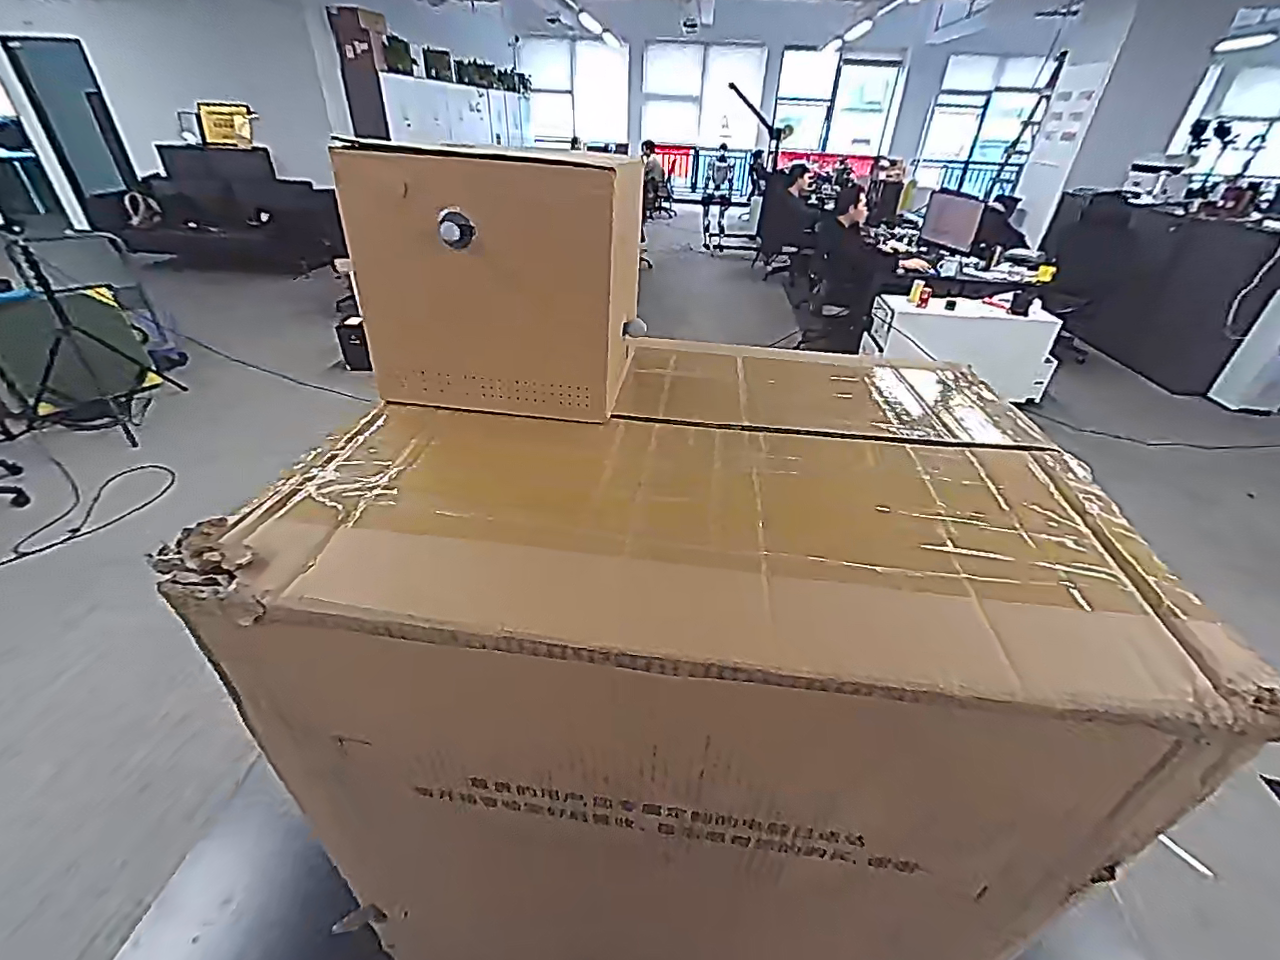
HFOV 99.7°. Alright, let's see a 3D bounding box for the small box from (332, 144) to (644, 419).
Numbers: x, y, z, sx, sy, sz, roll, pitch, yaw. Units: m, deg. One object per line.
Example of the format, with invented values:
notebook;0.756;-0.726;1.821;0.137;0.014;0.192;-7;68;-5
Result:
small box;-0.096;-0.159;0.426;0.179;0.176;0.168;6;32;4
